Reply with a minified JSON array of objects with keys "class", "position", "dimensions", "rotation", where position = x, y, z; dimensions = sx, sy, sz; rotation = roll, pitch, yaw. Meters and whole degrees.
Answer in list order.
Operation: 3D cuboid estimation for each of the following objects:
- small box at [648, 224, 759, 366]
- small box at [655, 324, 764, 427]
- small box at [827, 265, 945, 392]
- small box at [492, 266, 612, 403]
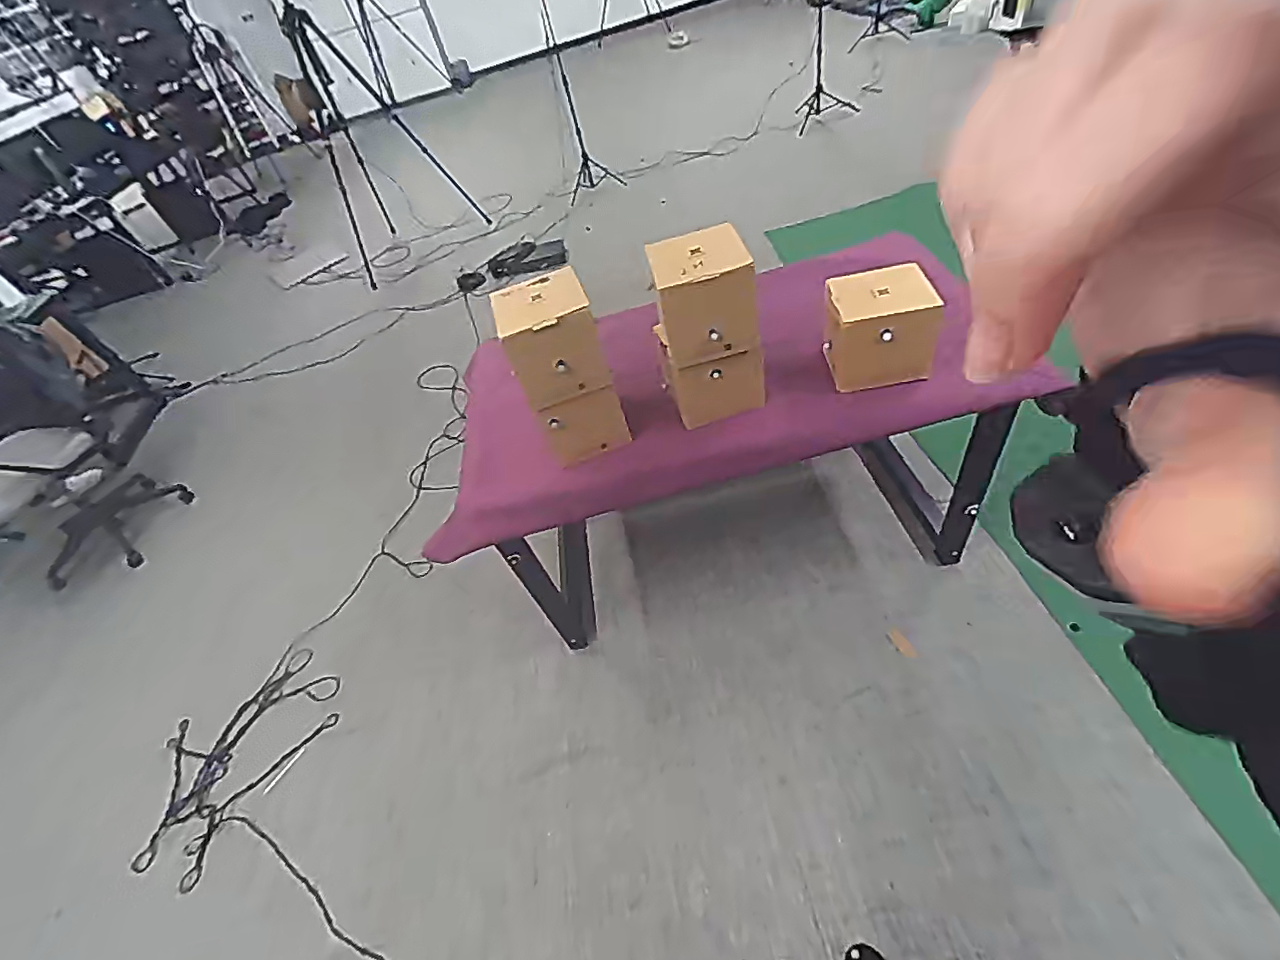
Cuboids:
[{"class":"small box","position":[0.118,-0.340,1.004],"dimensions":[0.168,0.176,0.179],"rotation":[-14,47,5]},{"class":"small box","position":[0.148,-0.237,1.129],"dimensions":[0.179,0.176,0.168],"rotation":[-19,47,-1]},{"class":"small box","position":[0.479,-0.300,1.085],"dimensions":[0.179,0.176,0.168],"rotation":[-8,46,12]},{"class":"small box","position":[-0.163,-0.265,1.019],"dimensions":[0.168,0.176,0.179],"rotation":[-20,47,-2]}]
